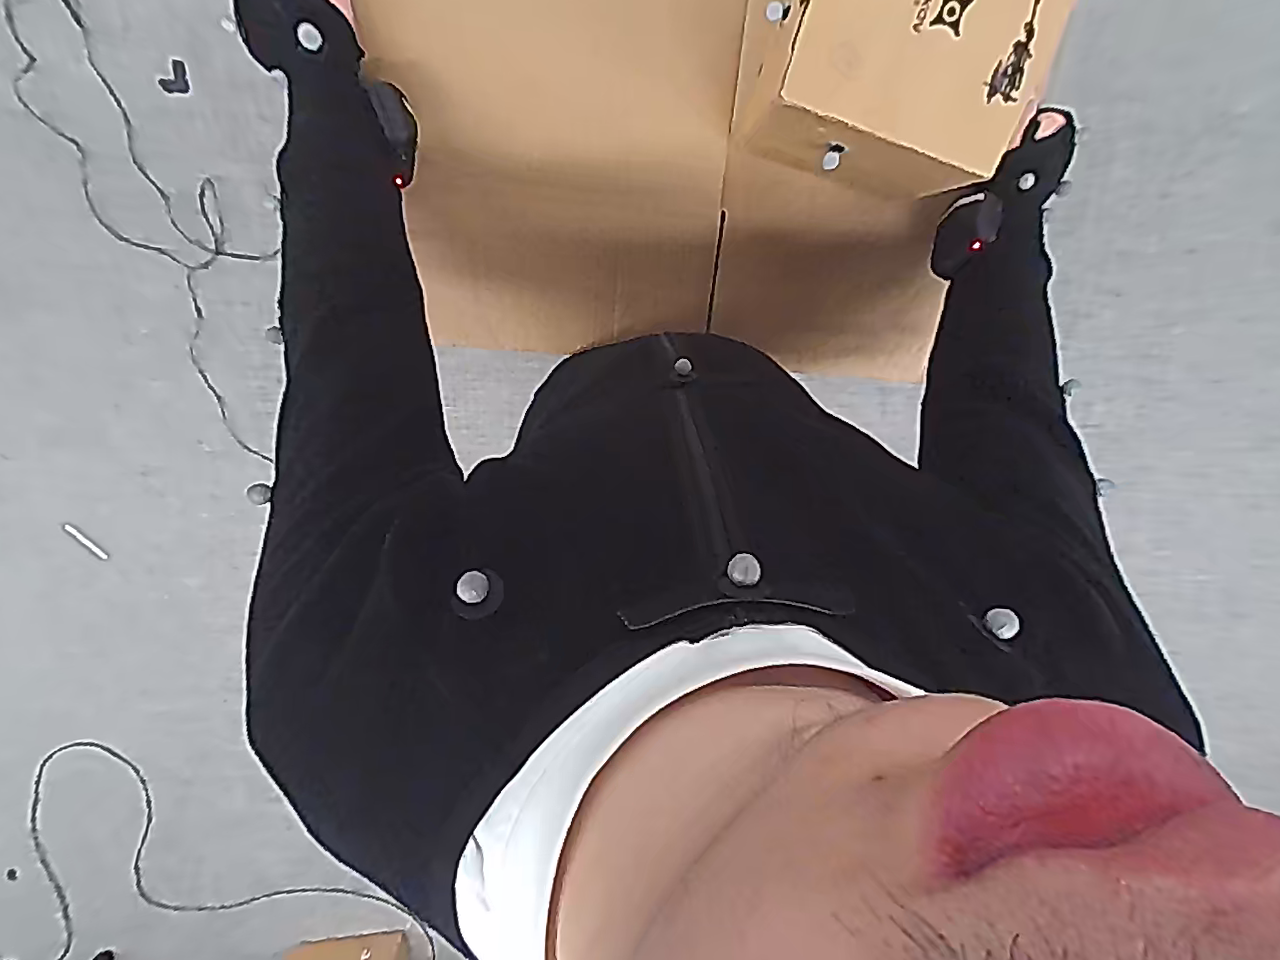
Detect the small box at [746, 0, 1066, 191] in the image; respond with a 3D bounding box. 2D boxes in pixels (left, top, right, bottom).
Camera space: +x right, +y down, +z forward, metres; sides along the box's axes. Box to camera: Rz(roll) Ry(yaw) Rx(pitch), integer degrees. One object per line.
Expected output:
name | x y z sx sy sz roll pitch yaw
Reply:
small box | 0.203 -0.357 0.446 0.179 0.176 0.168 16 111 -6
